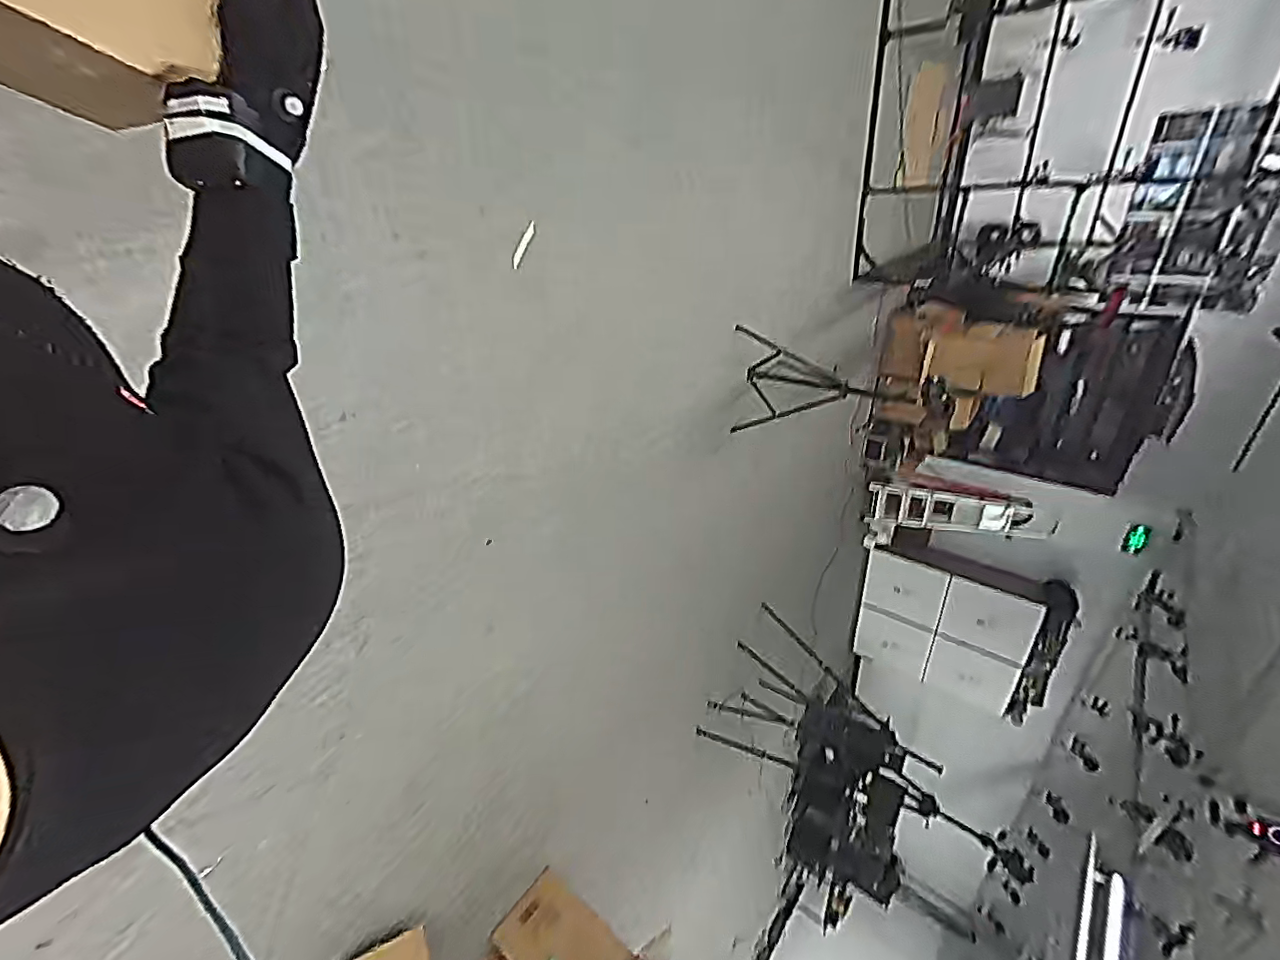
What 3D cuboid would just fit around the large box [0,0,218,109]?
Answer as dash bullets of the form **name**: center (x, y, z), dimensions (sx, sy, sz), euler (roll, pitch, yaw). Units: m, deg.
- **large box**: center (-0.531, -0.495, 0.314), dimensions (0.408, 0.320, 0.320), euler (1, 107, -56)
